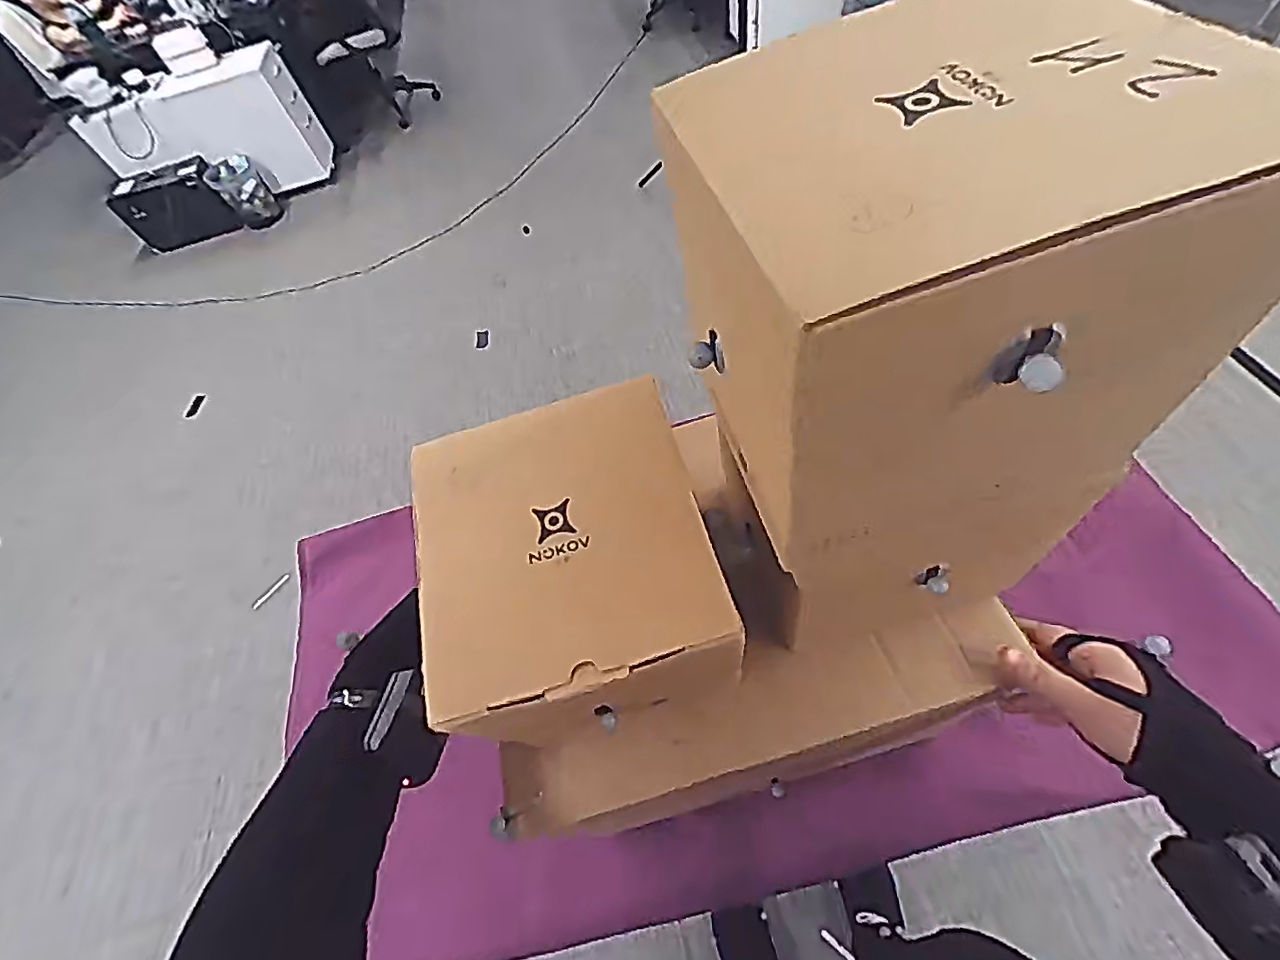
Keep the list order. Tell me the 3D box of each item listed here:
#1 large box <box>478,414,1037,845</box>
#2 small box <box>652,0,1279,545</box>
[{"bbox_3d":[0.088,0.154,0.590,0.408,0.320,0.320,-18,55,1],"label":"large box"},{"bbox_3d":[0.120,-0.091,0.249,0.179,0.176,0.168,-17,56,2],"label":"small box"}]
